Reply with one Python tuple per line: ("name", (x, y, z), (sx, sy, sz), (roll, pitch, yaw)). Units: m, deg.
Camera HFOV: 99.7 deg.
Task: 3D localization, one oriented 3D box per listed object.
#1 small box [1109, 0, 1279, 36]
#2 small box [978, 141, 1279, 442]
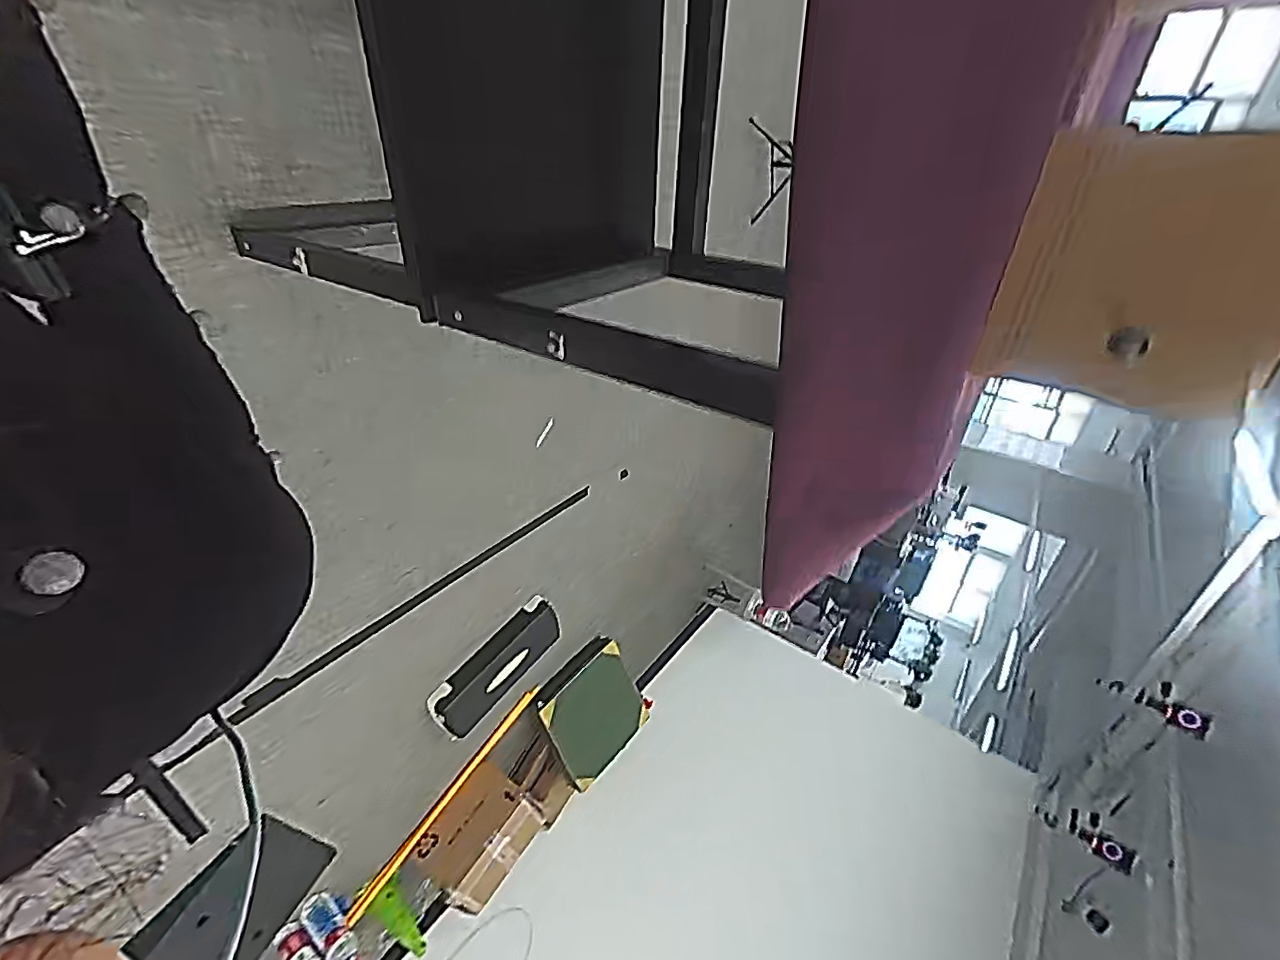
("small box", (0.407, -0.375, 0.309), (0.179, 0.176, 0.168), (-34, 137, -44))
("small box", (0.385, -0.153, 0.425), (0.168, 0.176, 0.179), (-30, 133, -48))
